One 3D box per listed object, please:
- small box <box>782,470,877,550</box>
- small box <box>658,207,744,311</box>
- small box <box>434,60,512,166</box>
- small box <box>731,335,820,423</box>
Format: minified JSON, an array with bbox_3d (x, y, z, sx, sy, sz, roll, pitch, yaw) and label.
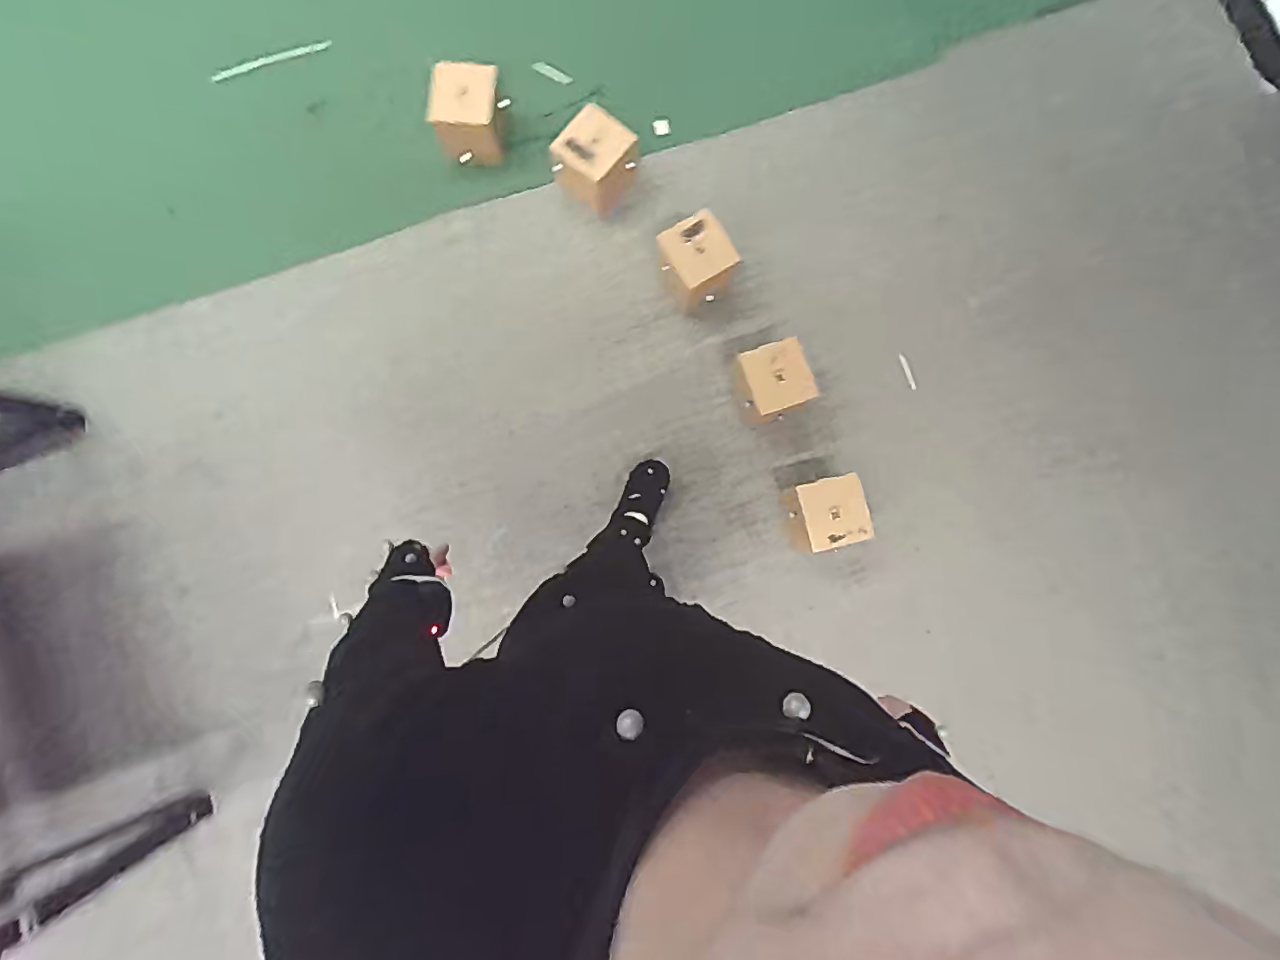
[{"bbox_3d":[0.492,0.086,1.432,0.168,0.176,0.179,-13,83,-2],"label":"small box"},{"bbox_3d":[0.161,-0.606,1.503,0.168,0.176,0.179,-31,86,-4],"label":"small box"},{"bbox_3d":[-0.469,-1.042,1.543,0.168,0.176,0.179,5,83,0],"label":"small box"},{"bbox_3d":[0.361,-0.264,1.468,0.168,0.176,0.179,-18,85,-4],"label":"small box"}]
